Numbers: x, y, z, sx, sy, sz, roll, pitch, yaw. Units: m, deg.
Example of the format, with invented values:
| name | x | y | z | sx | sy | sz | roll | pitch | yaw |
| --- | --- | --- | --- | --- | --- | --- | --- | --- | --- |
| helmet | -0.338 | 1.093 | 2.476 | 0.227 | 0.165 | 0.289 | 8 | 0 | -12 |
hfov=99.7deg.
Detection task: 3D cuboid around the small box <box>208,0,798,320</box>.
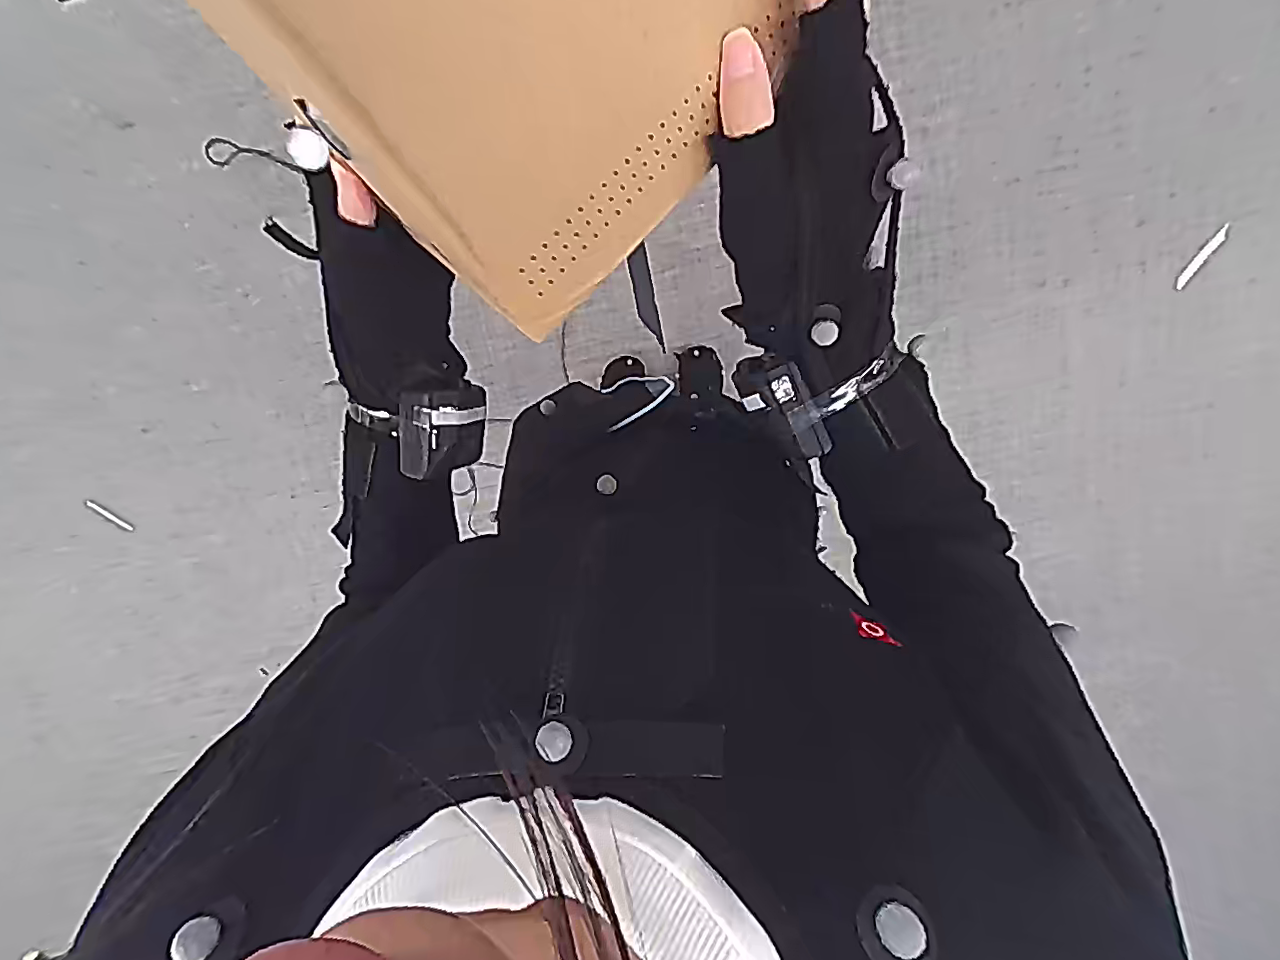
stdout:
| name | x | y | z | sx | sy | sz | roll | pitch | yaw |
| --- | --- | --- | --- | --- | --- | --- | --- | --- | --- |
| small box | -0.056 | -0.201 | 0.222 | 0.179 | 0.176 | 0.168 | -46 | 57 | -2 |
